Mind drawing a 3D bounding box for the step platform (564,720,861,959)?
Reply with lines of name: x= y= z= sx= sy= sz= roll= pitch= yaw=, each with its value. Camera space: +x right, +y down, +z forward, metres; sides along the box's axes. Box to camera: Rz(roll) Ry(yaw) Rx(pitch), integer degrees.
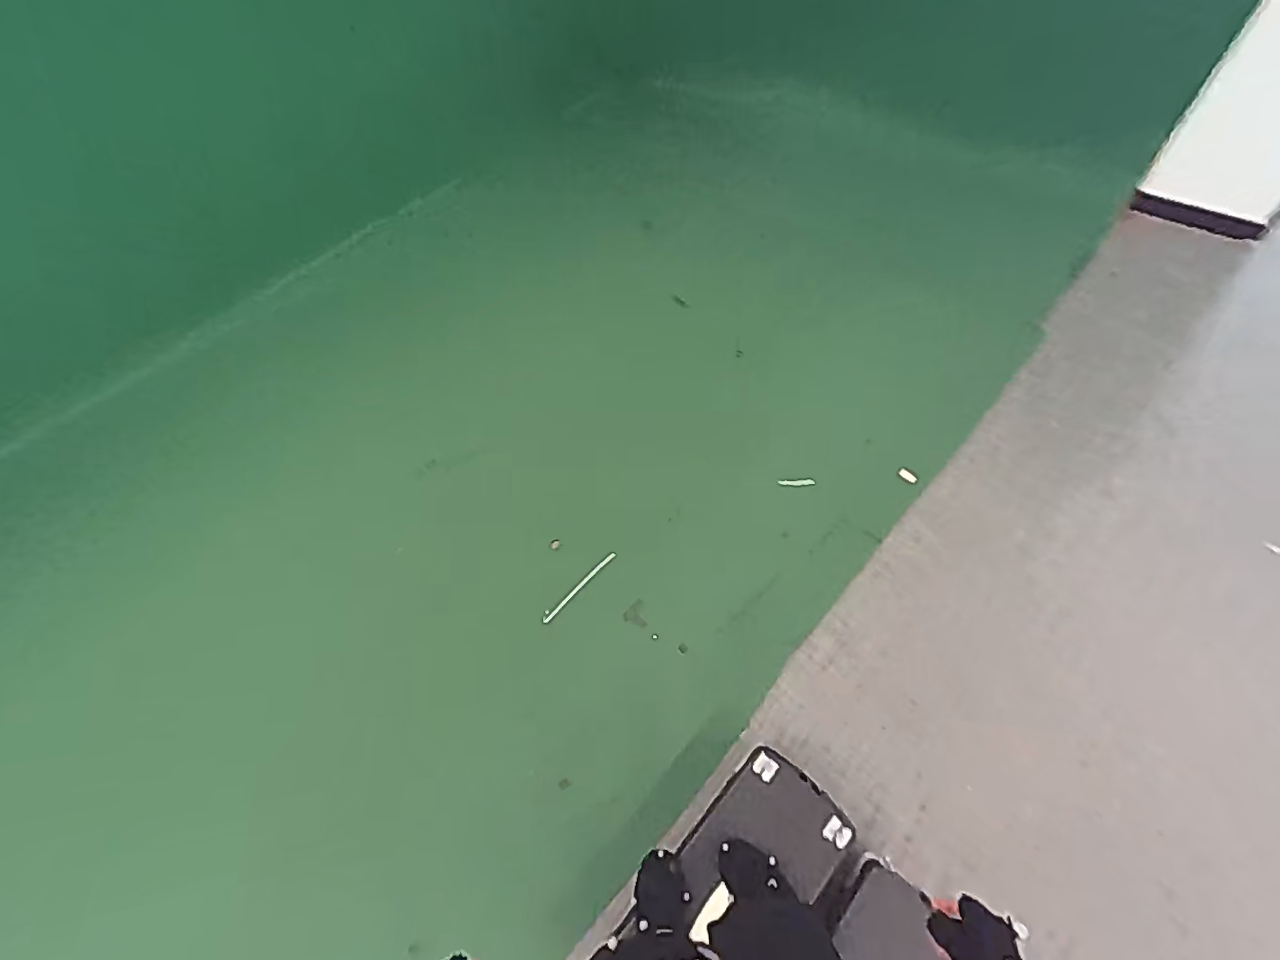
step platform: x=0.131 y=0.835 z=1.068 sx=0.286 sy=0.204 sz=0.684 roll=37 pitch=70 yaw=24
